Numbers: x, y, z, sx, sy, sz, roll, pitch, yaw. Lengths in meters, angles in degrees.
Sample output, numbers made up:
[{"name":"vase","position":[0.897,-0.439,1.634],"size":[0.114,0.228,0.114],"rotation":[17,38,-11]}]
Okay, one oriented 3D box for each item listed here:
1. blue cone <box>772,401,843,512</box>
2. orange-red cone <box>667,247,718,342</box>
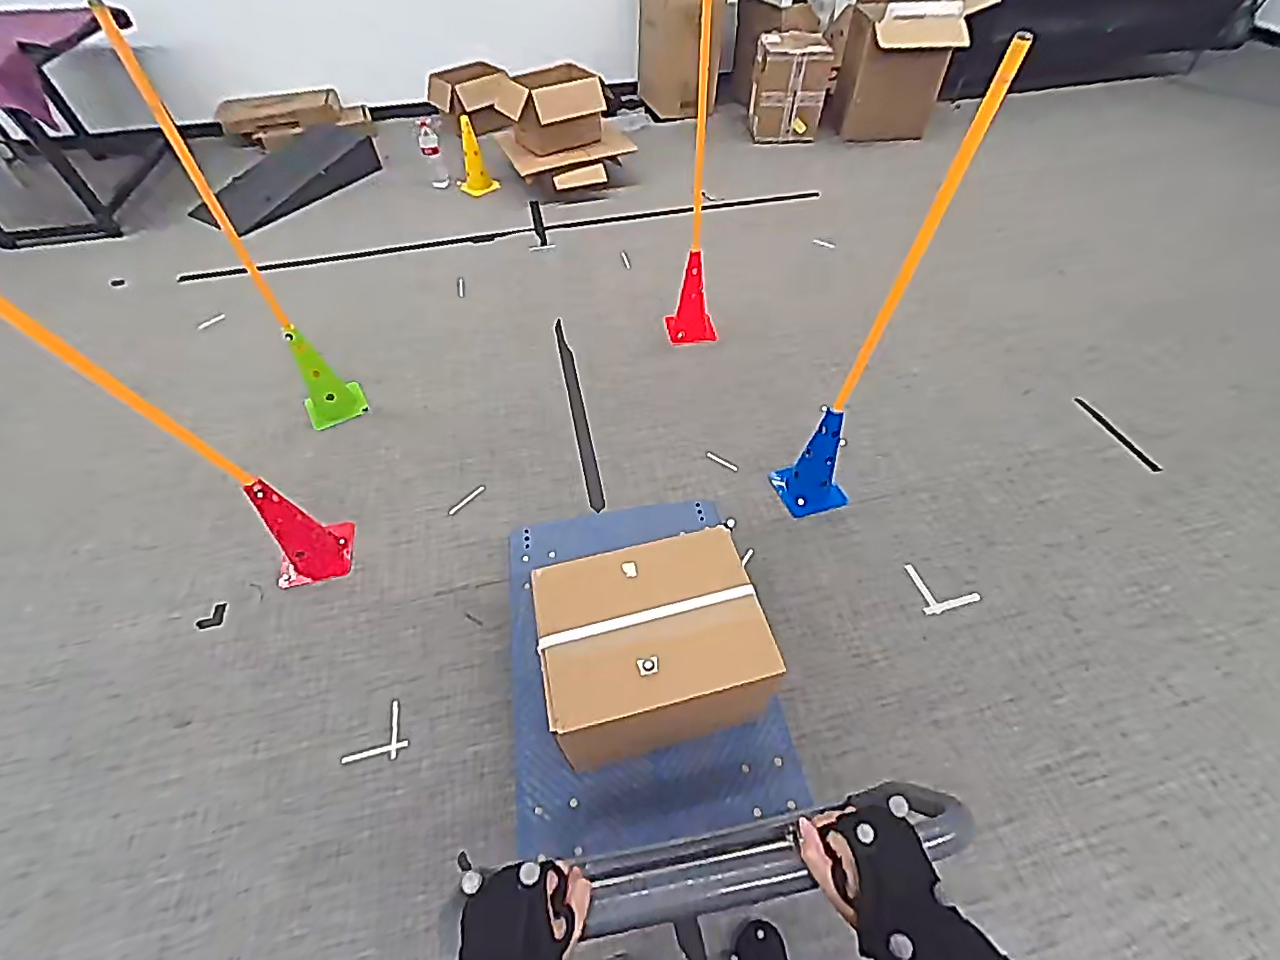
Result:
[{"name":"blue cone","position":[0.549,-0.084,1.648],"size":[0.193,0.380,0.192],"rotation":[-14,52,-10]},{"name":"orange-red cone","position":[0.221,-0.758,2.167],"size":[0.199,0.360,0.198],"rotation":[-5,52,-4]}]
